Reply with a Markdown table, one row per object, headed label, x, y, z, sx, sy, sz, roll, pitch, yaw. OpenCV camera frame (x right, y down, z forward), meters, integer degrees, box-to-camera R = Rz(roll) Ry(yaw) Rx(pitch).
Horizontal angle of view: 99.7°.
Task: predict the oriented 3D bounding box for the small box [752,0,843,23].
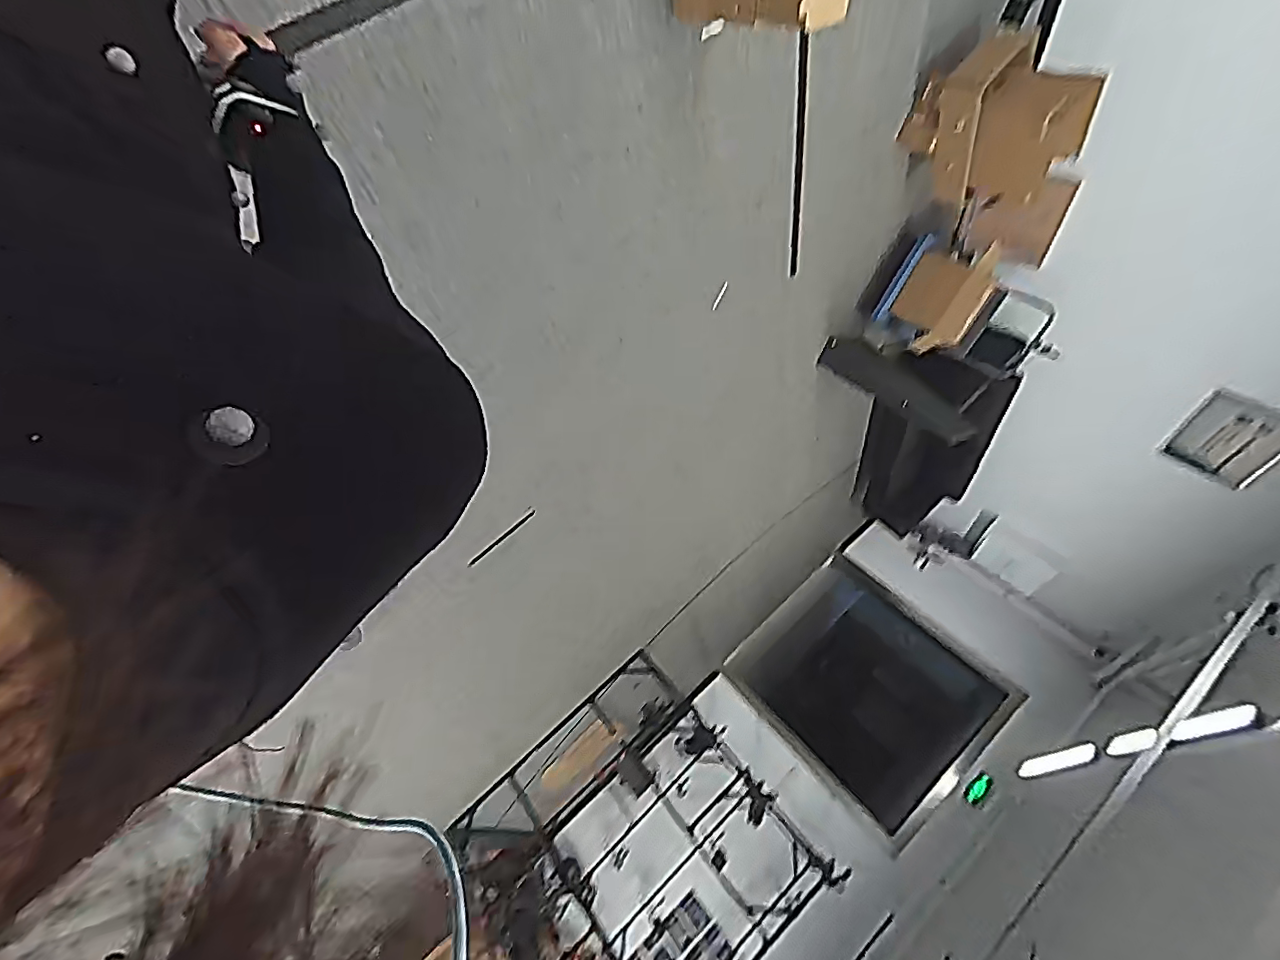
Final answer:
| label | x | y | z | sx | sy | sz | roll | pitch | yaw |
| --- | --- | --- | --- | --- | --- | --- | --- | --- | --- |
| small box | 0.411 | -1.291 | 1.371 | 0.179 | 0.176 | 0.168 | -34 | 146 | -22 |

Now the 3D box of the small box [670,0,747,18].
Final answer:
| label | x | y | z | sx | sy | sz | roll | pitch | yaw |
| --- | --- | --- | --- | --- | --- | --- | --- | --- | --- |
| small box | 0.193 | -1.463 | 1.549 | 0.179 | 0.176 | 0.168 | -38 | 147 | -17 |
